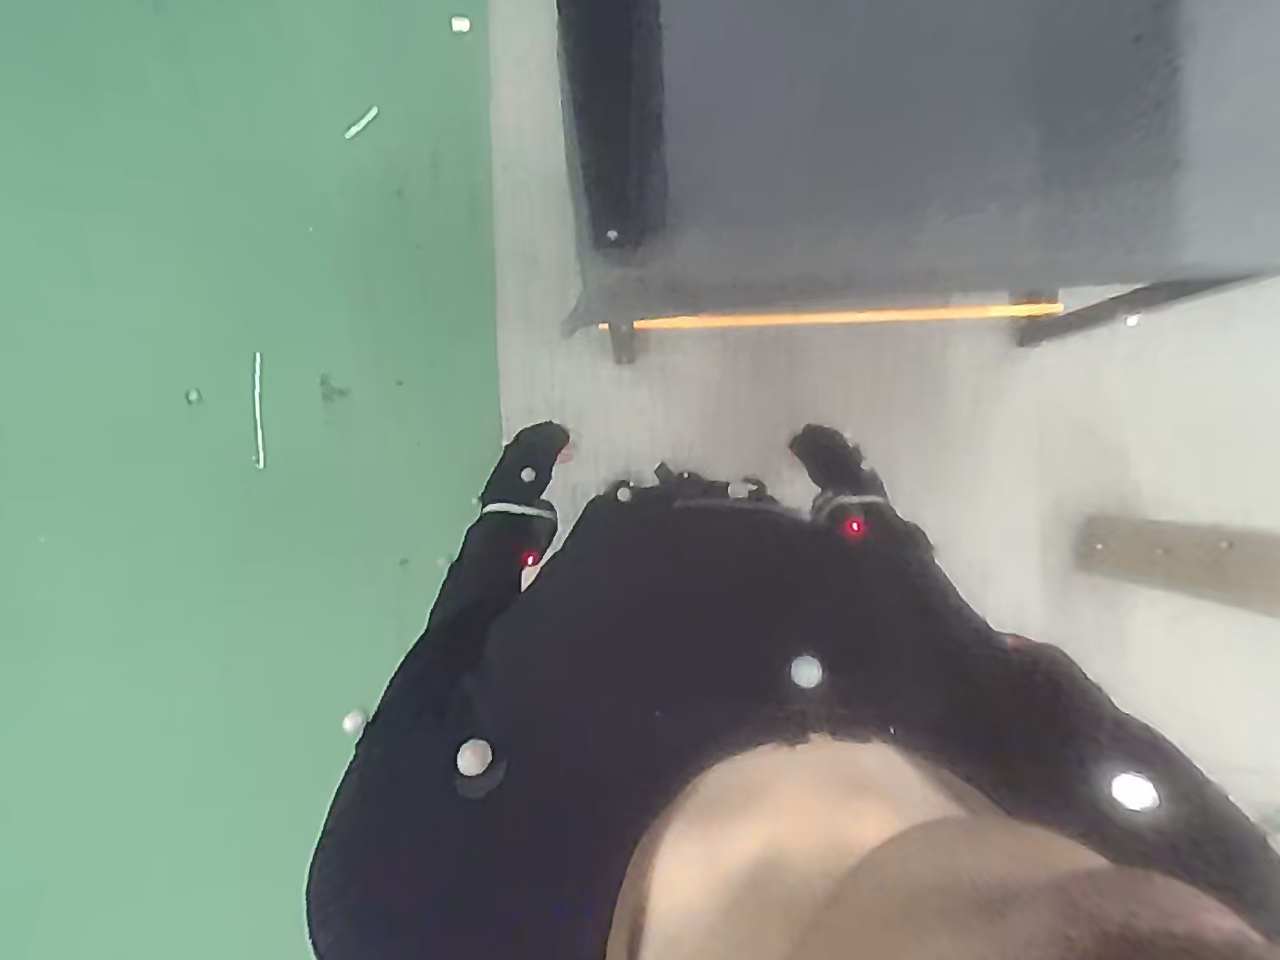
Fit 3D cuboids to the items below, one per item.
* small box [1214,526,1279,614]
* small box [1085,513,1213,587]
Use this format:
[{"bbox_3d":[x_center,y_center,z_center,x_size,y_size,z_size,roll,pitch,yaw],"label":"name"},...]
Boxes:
[{"bbox_3d":[1.337,0.185,1.099,0.179,0.176,0.168,2,92,-1],"label":"small box"},{"bbox_3d":[1.333,0.178,1.426,0.179,0.176,0.168,4,91,0],"label":"small box"}]
